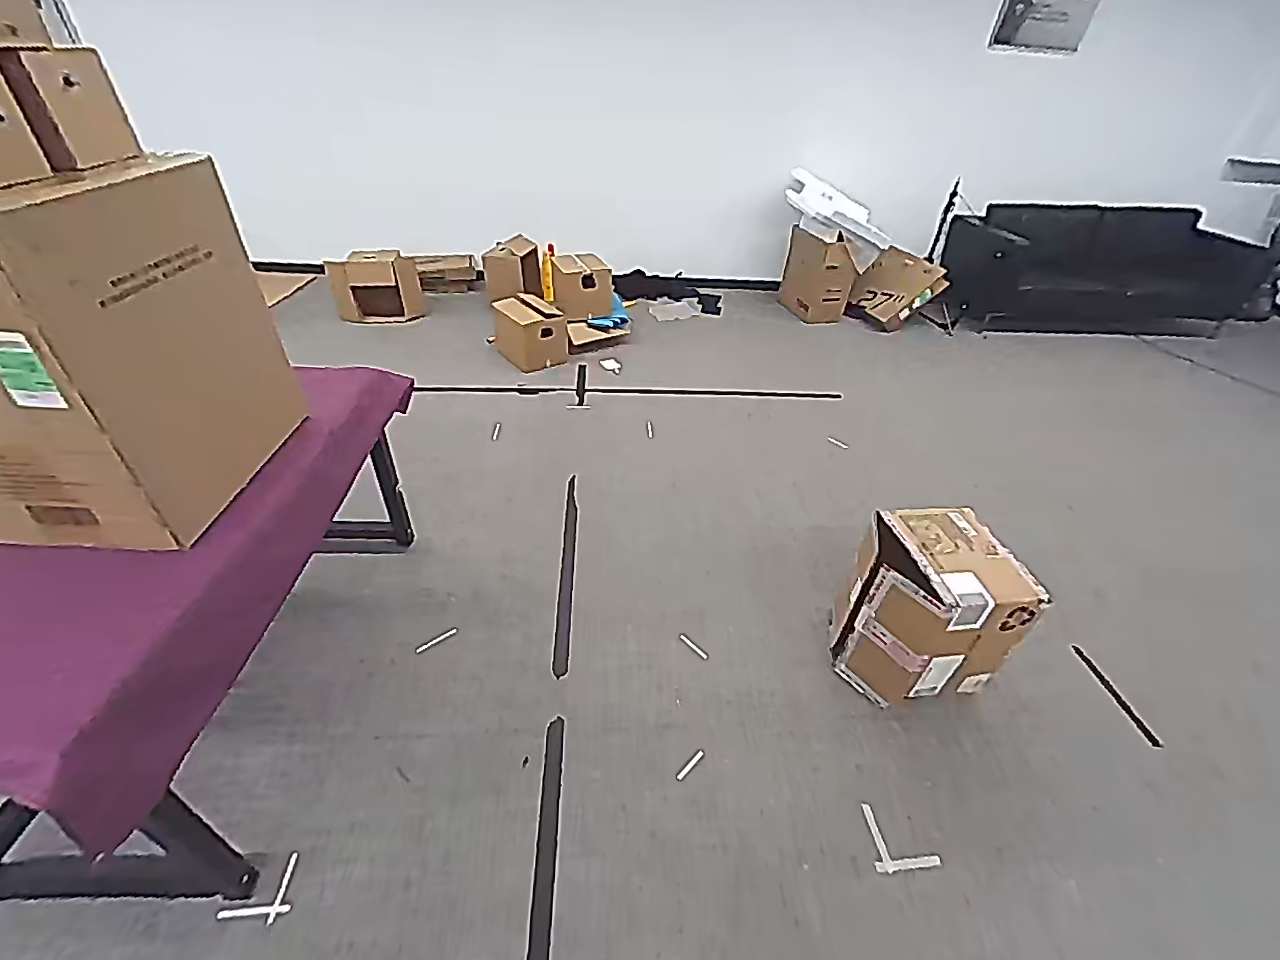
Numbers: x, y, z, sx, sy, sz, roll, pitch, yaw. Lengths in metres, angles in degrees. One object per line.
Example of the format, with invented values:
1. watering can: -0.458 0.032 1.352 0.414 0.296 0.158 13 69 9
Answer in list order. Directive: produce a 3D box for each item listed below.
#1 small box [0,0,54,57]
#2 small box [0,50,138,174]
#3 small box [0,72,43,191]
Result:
1. small box: -1.040 -0.719 0.775 0.179 0.176 0.168 5 39 3
2. small box: -1.049 -0.644 0.944 0.168 0.176 0.179 0 38 -5
3. small box: -1.032 -0.506 0.769 0.168 0.176 0.179 -1 37 -5
